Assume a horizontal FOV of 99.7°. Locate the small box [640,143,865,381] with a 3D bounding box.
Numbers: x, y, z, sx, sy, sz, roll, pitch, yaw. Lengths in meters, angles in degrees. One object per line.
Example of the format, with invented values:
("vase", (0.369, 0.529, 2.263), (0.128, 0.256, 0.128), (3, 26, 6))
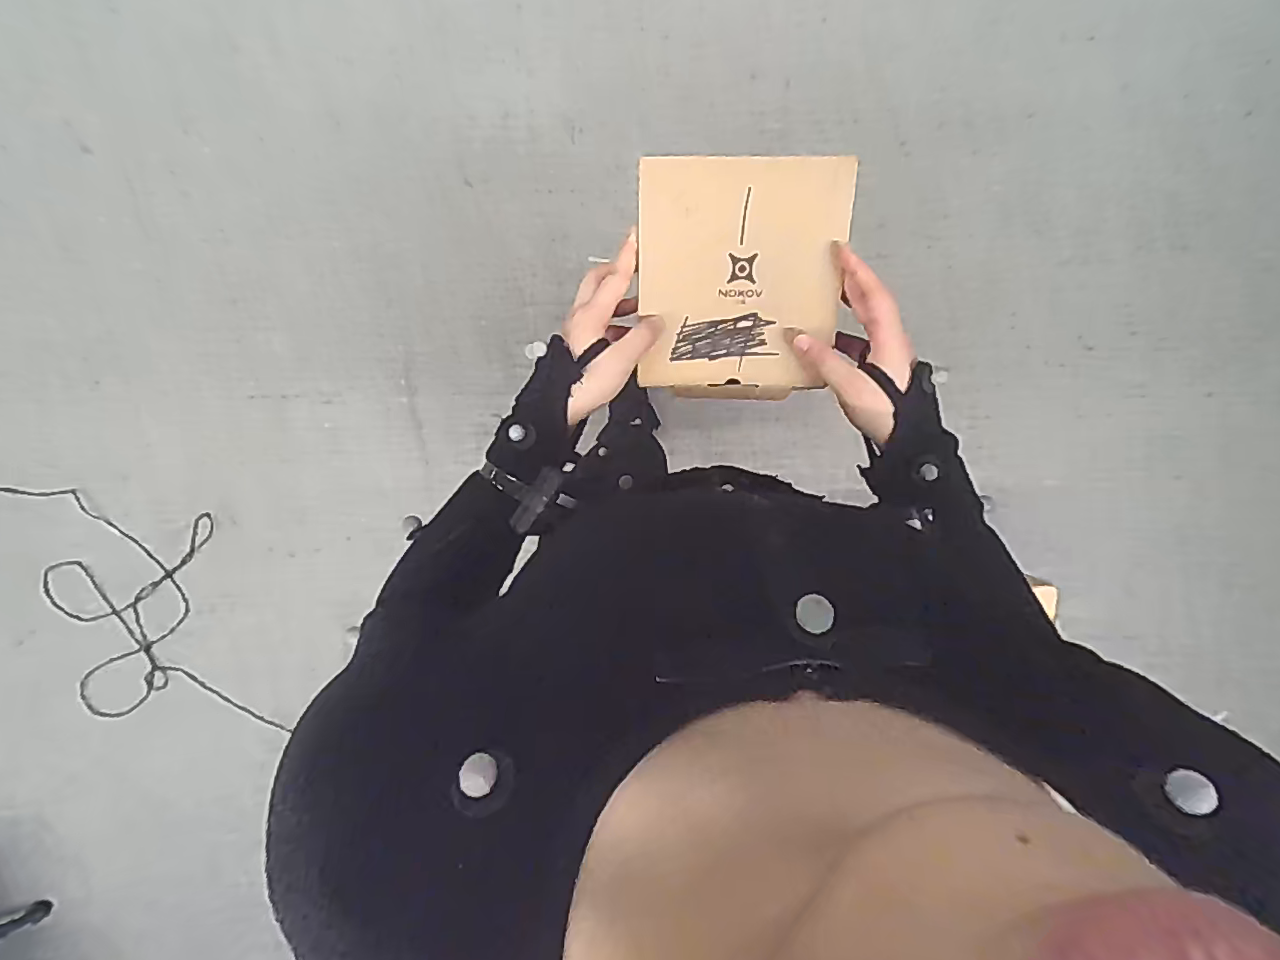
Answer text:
("small box", (0.086, -0.198, 0.504), (0.168, 0.176, 0.179), (1, 112, 1))
